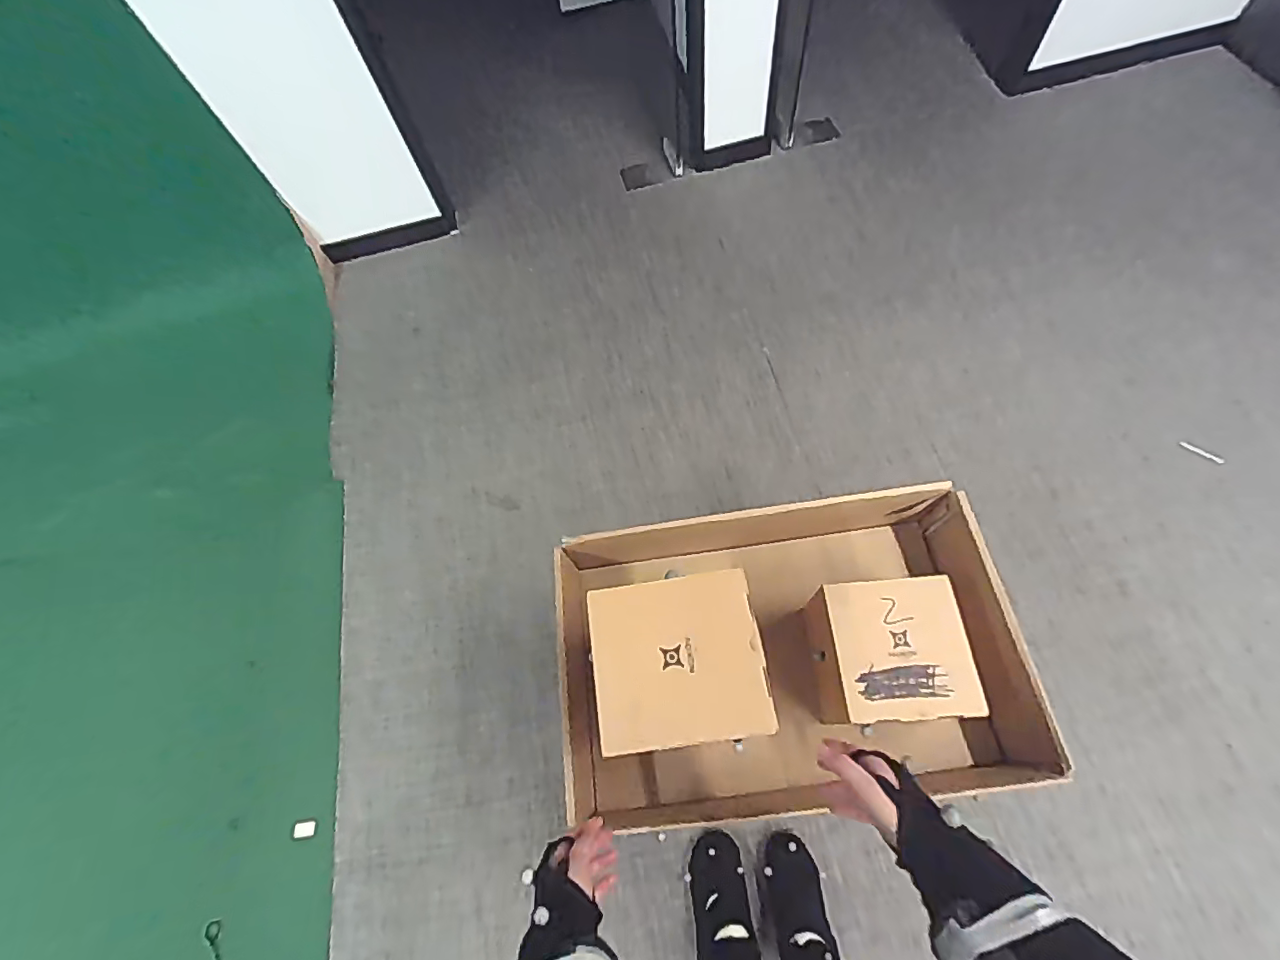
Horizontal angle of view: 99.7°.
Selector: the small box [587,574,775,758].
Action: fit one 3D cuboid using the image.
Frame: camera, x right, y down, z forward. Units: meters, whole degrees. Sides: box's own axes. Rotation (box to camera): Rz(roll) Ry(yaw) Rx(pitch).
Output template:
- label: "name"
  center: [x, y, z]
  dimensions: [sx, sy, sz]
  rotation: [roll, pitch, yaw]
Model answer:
- label: "small box"
  center: [0.043, 0.221, 0.628]
  dimensions: [0.179, 0.176, 0.168]
  rotation: [-8, 65, 0]
